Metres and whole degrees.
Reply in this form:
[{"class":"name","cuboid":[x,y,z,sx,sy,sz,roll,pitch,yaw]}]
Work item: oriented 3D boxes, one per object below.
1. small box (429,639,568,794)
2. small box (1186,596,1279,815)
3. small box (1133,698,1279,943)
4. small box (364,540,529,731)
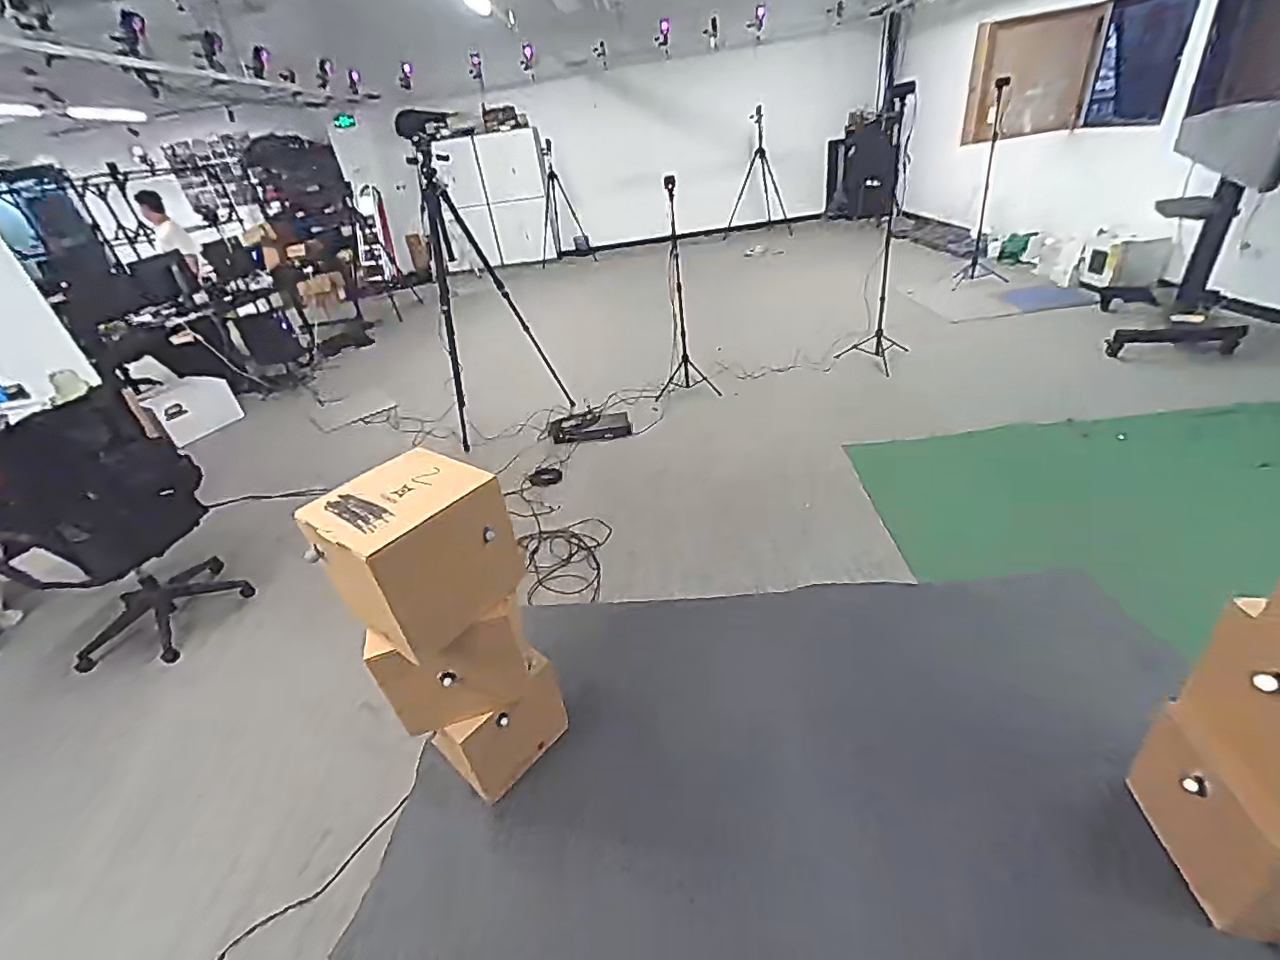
[{"class":"small box","cuboid":[-0.242,0.354,0.864,0.179,0.176,0.168,20,43,37]},{"class":"small box","cuboid":[0.692,0.229,0.512,0.168,0.176,0.179,-4,28,11]},{"class":"small box","cuboid":[0.700,0.371,0.592,0.168,0.176,0.179,-3,30,13]},{"class":"small box","cuboid":[-0.264,0.219,0.772,0.179,0.176,0.168,-16,34,-10]}]
